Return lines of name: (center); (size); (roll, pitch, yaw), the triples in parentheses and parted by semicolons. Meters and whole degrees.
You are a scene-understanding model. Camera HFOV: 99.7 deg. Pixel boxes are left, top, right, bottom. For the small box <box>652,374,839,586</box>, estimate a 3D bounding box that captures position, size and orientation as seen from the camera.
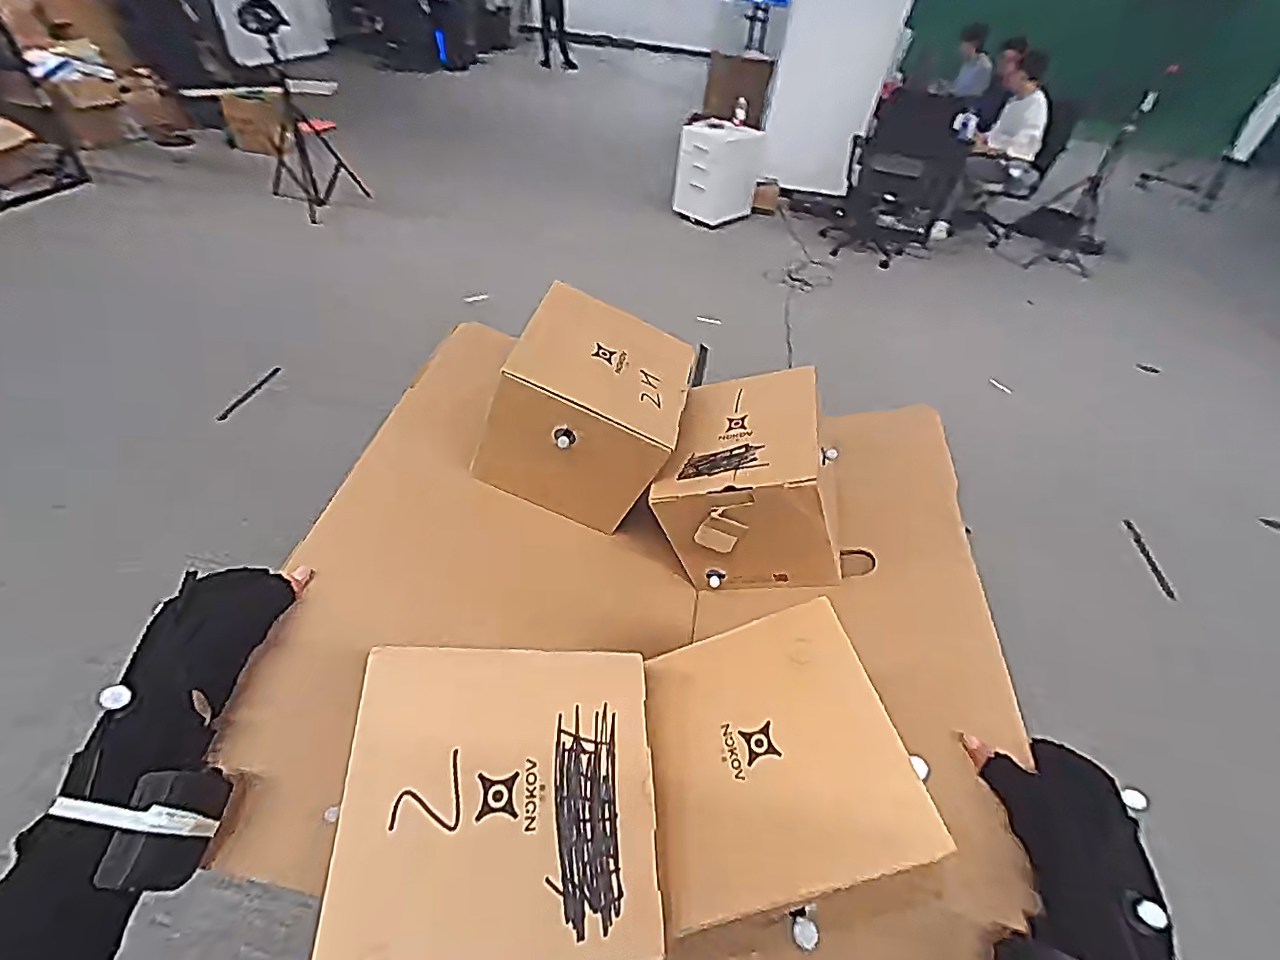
small box: (0.131, 0.009, 0.620); (0.168, 0.176, 0.179); (-6, 43, 24)
